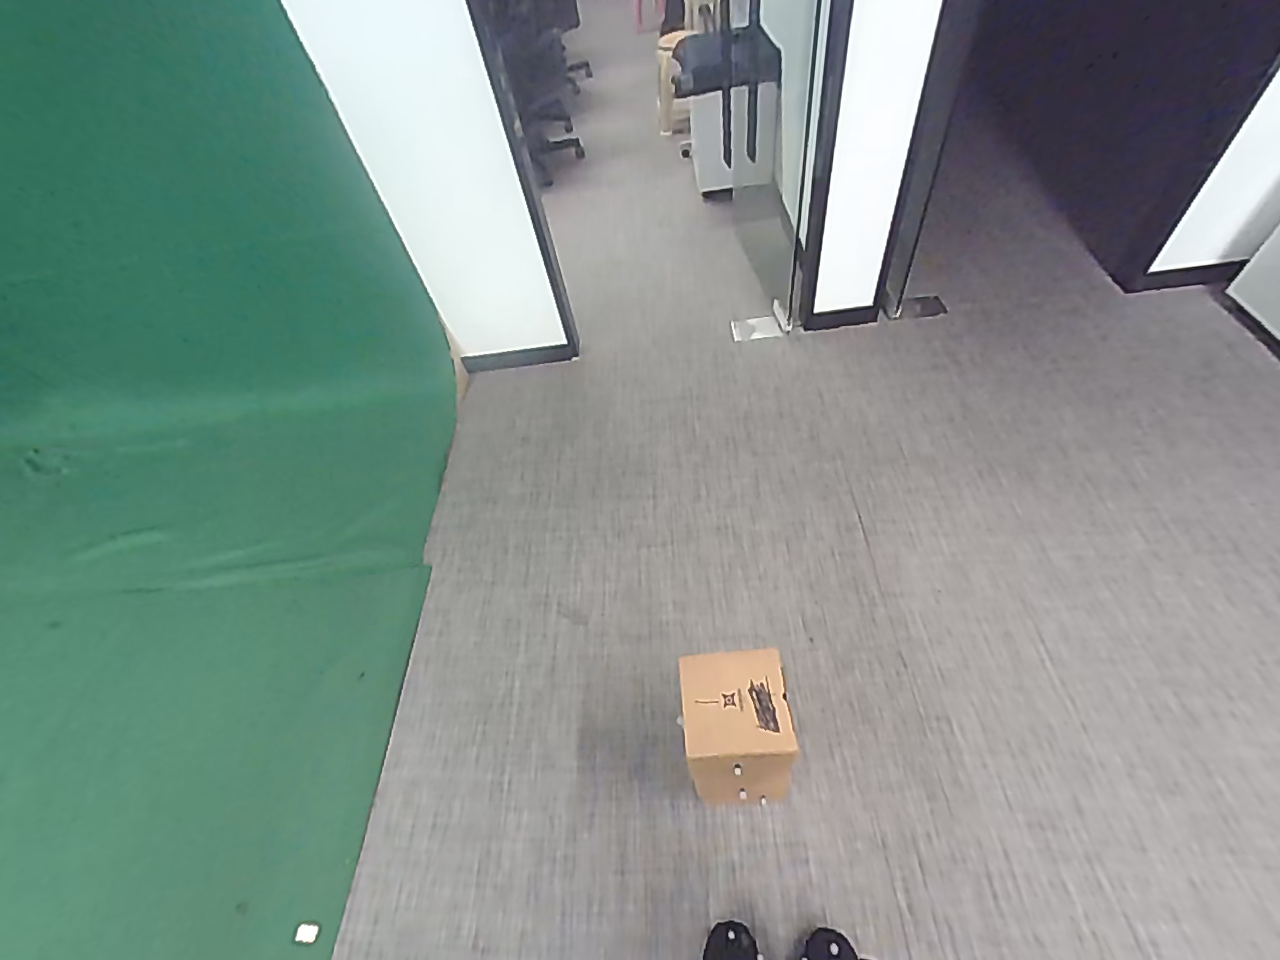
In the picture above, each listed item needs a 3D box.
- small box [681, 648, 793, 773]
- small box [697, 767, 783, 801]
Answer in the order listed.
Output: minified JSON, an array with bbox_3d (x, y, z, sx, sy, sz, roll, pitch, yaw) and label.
[{"bbox_3d":[0.165,0.409,0.956,0.179,0.176,0.168,-4,50,7],"label":"small box"},{"bbox_3d":[0.216,0.612,1.212,0.179,0.176,0.168,-7,50,7],"label":"small box"}]
